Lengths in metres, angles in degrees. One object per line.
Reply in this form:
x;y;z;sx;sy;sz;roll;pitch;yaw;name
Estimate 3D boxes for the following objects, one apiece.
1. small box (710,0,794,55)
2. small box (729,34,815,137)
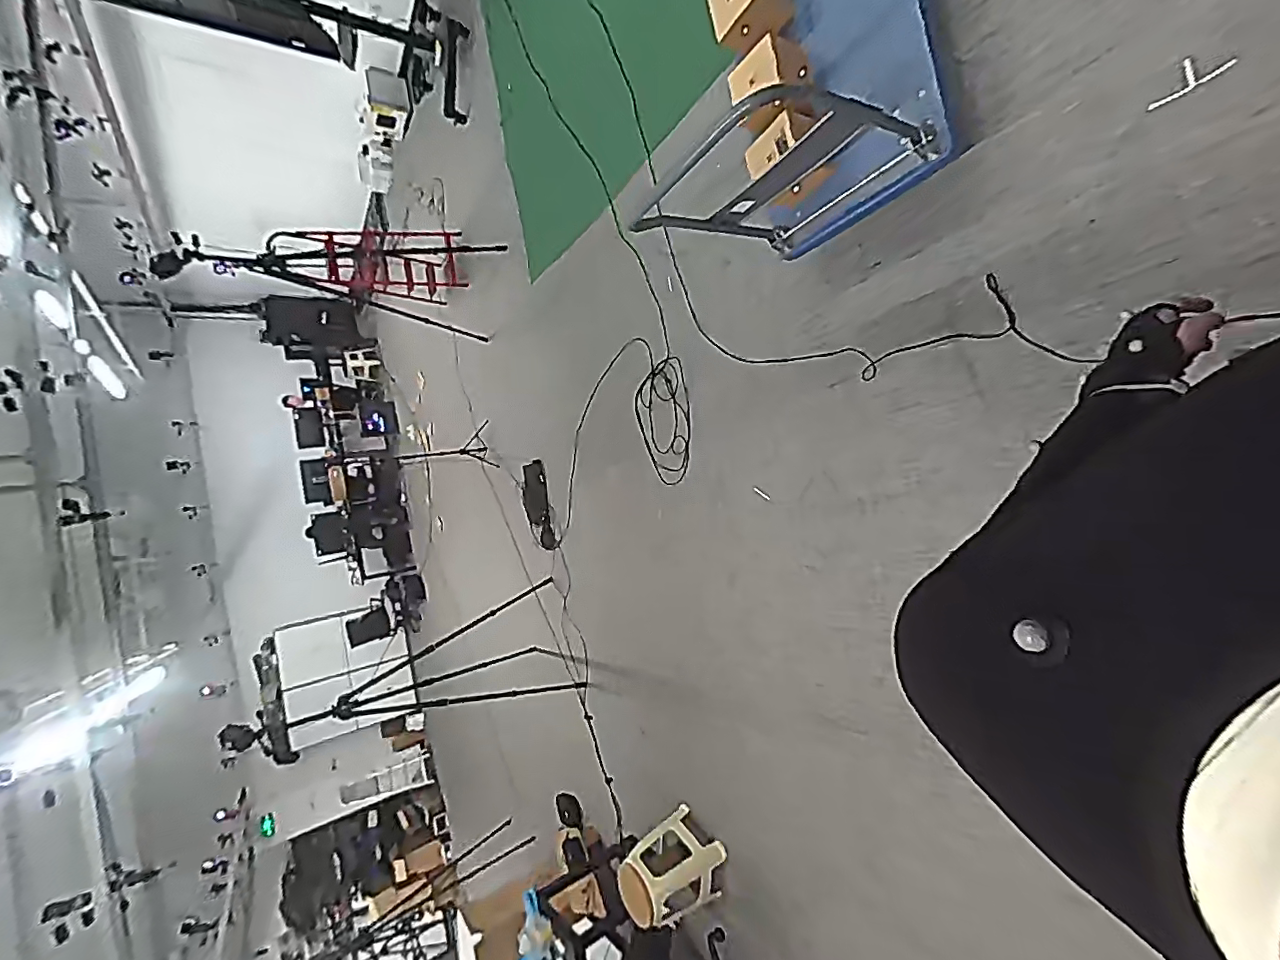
0.345;-1.470;1.673;0.179;0.176;0.168;-16;85;54;small box
0.405;-1.197;1.657;0.179;0.176;0.168;-14;85;54;small box
